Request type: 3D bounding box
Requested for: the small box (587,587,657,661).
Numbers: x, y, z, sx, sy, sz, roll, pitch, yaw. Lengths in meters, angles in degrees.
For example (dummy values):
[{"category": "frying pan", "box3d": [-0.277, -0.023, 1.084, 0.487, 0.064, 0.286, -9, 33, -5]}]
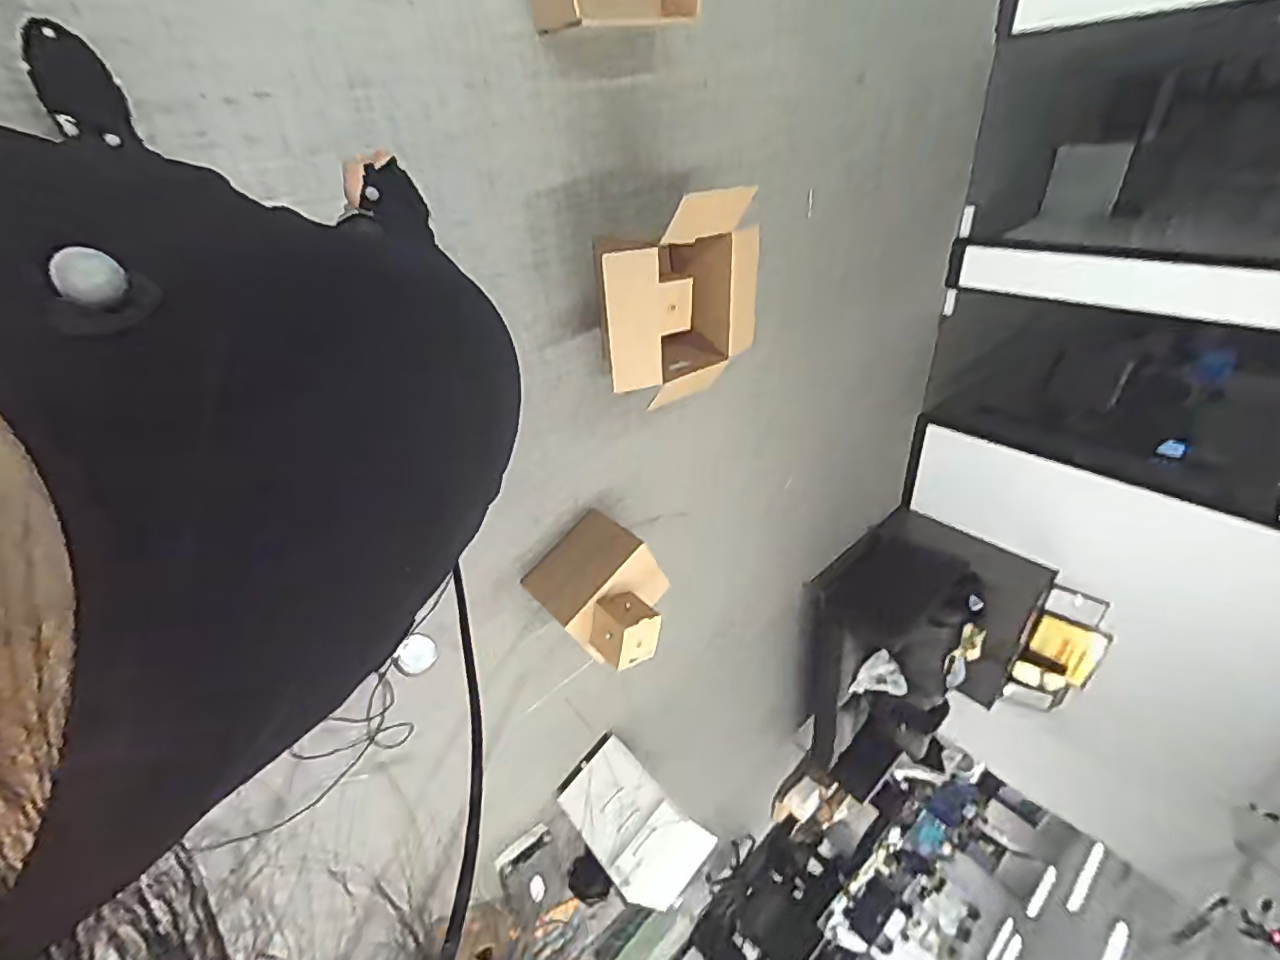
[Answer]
[{"category": "small box", "box3d": [-0.067, 0.491, 1.889, 0.168, 0.176, 0.179, -9, 117, -41]}]
